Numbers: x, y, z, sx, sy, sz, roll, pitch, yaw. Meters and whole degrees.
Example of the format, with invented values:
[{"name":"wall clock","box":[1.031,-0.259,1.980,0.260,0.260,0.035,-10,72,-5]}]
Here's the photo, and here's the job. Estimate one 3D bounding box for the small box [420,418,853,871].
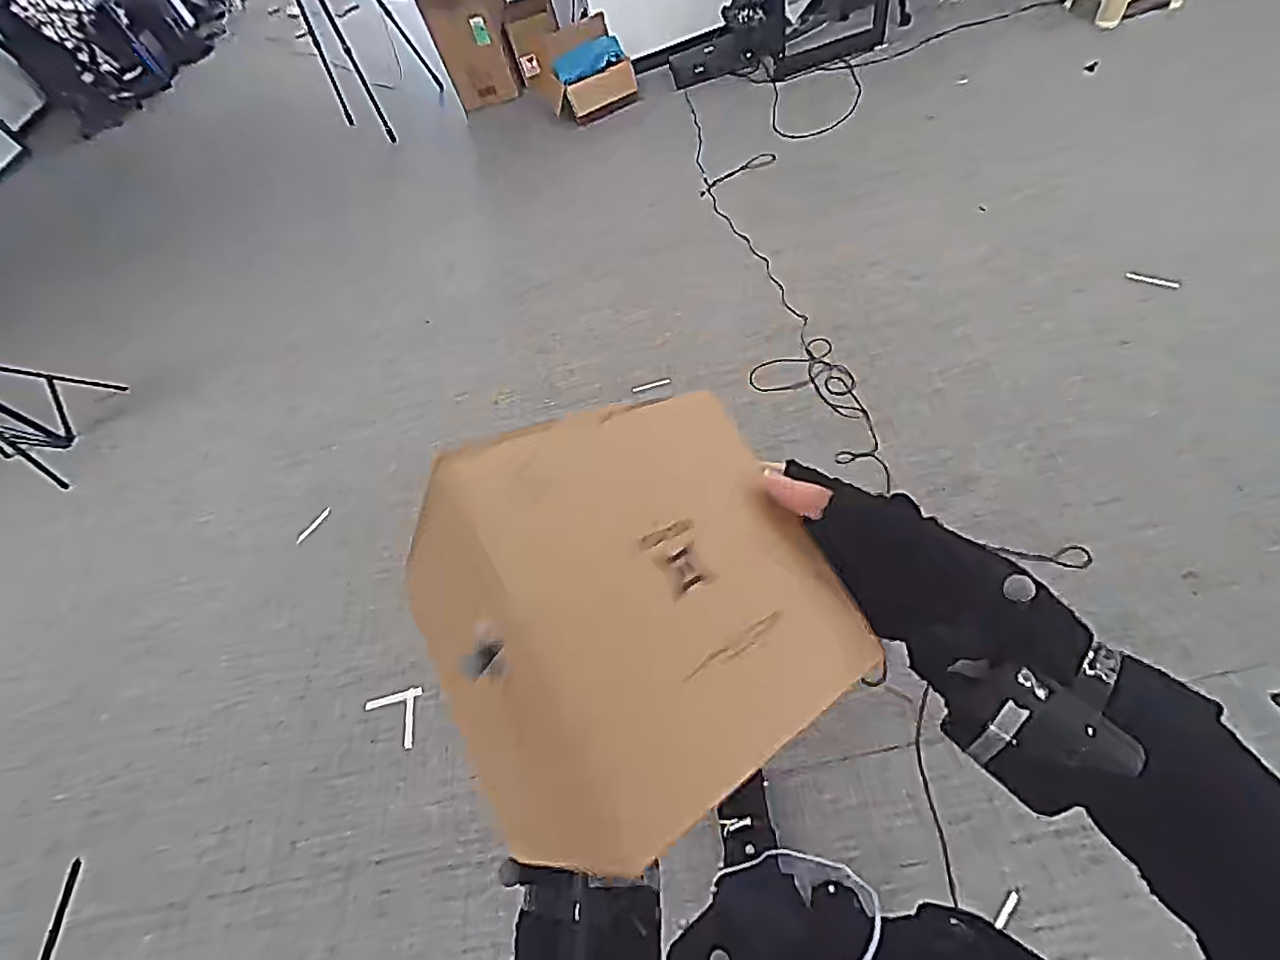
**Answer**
[{"name":"small box","box":[-0.022,0.093,0.327,0.168,0.176,0.179,-20,70,-32]}]
